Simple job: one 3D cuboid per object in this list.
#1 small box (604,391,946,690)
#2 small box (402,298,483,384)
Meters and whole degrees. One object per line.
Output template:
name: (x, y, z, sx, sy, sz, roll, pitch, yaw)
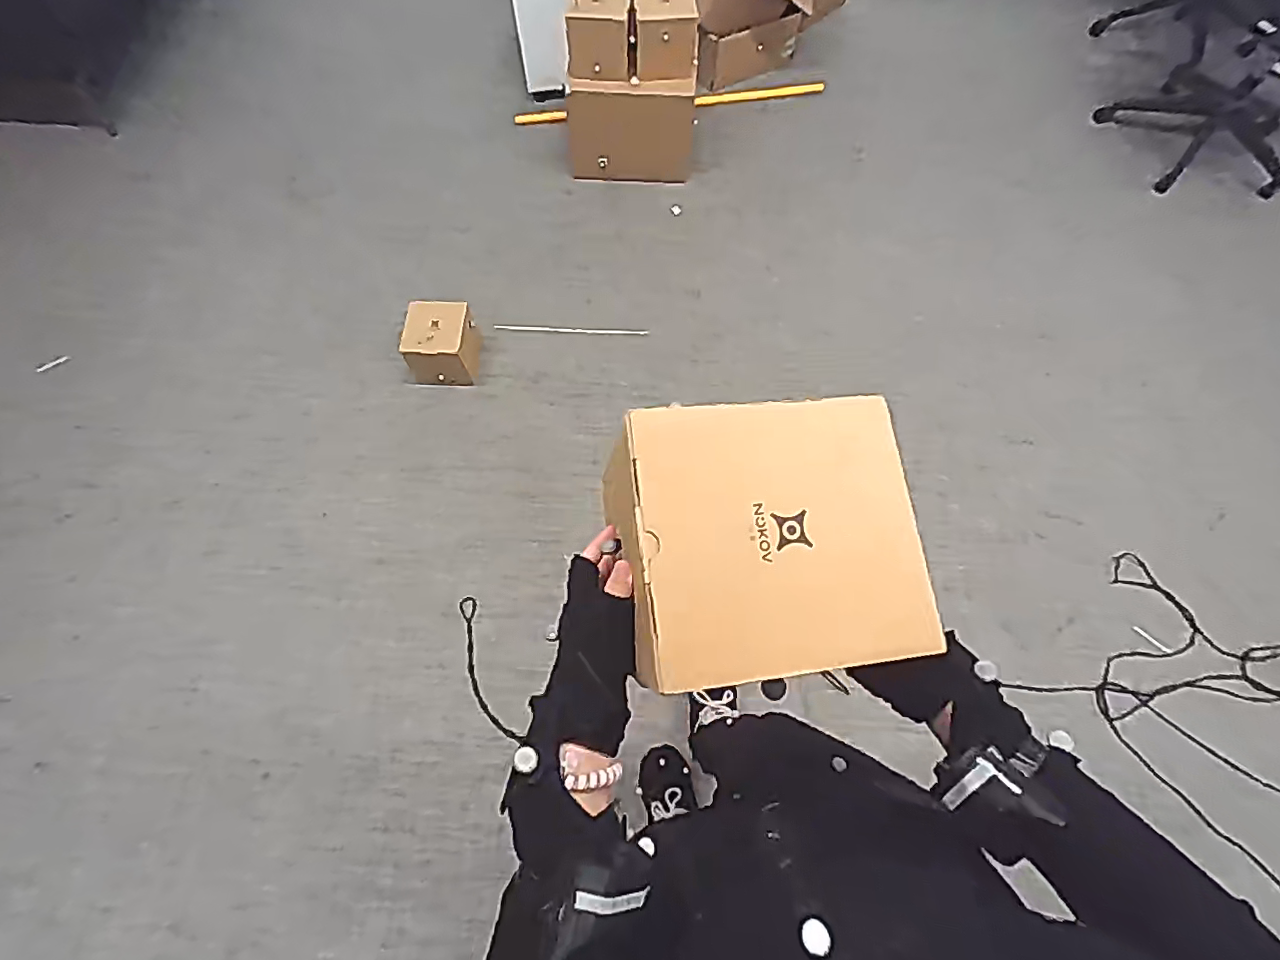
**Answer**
small box: (0.074, 0.045, 0.394, 0.179, 0.176, 0.168, -5, 77, -10)
small box: (-0.566, -0.402, 1.574, 0.168, 0.176, 0.179, 2, 69, 1)
